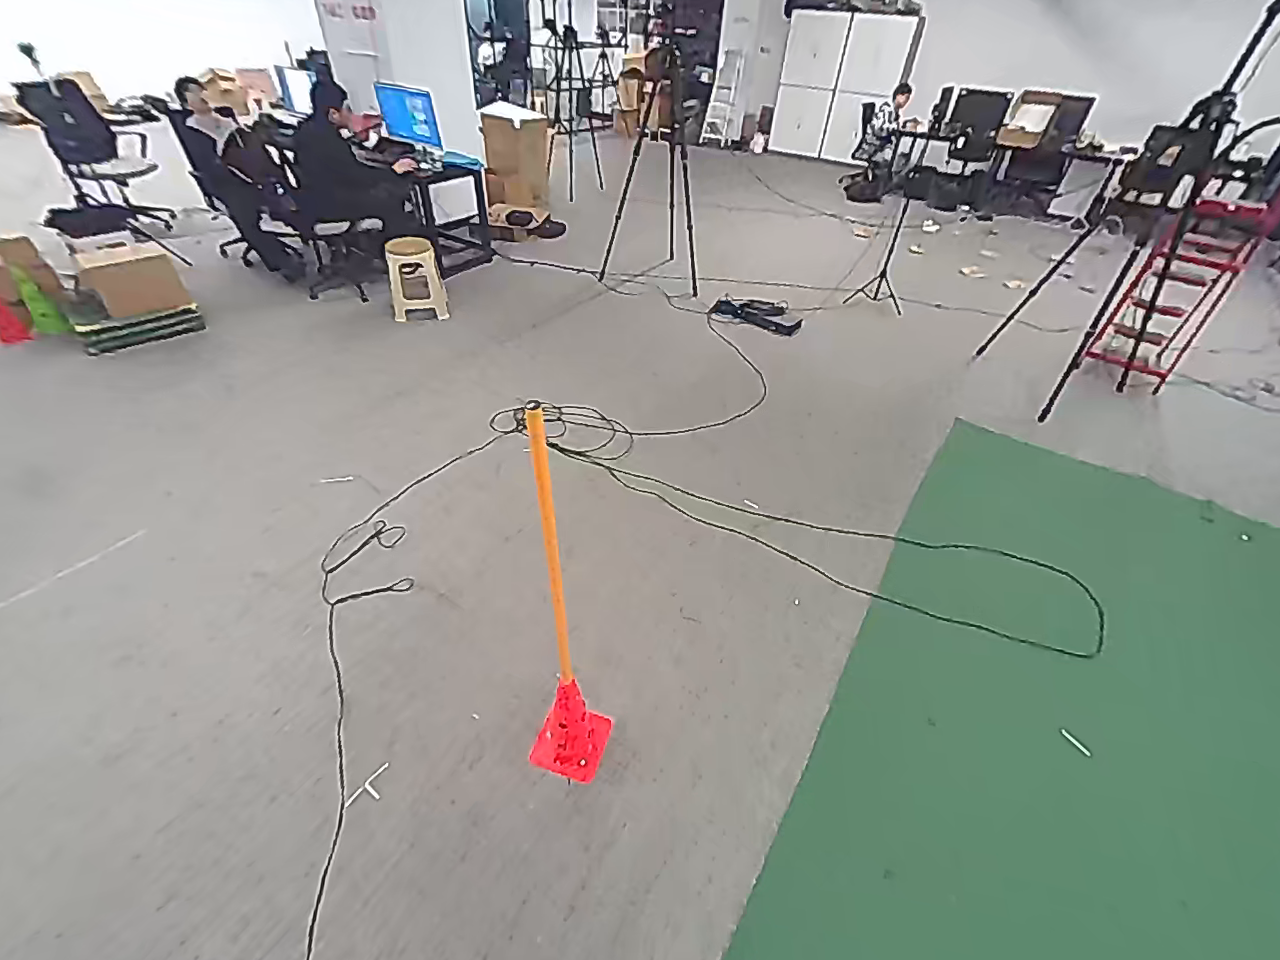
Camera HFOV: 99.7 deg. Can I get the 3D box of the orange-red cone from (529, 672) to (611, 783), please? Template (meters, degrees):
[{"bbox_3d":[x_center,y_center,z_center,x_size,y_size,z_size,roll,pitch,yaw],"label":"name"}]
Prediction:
[{"bbox_3d":[-0.195,0.642,1.498,0.198,0.360,0.199,15,41,13],"label":"orange-red cone"}]
